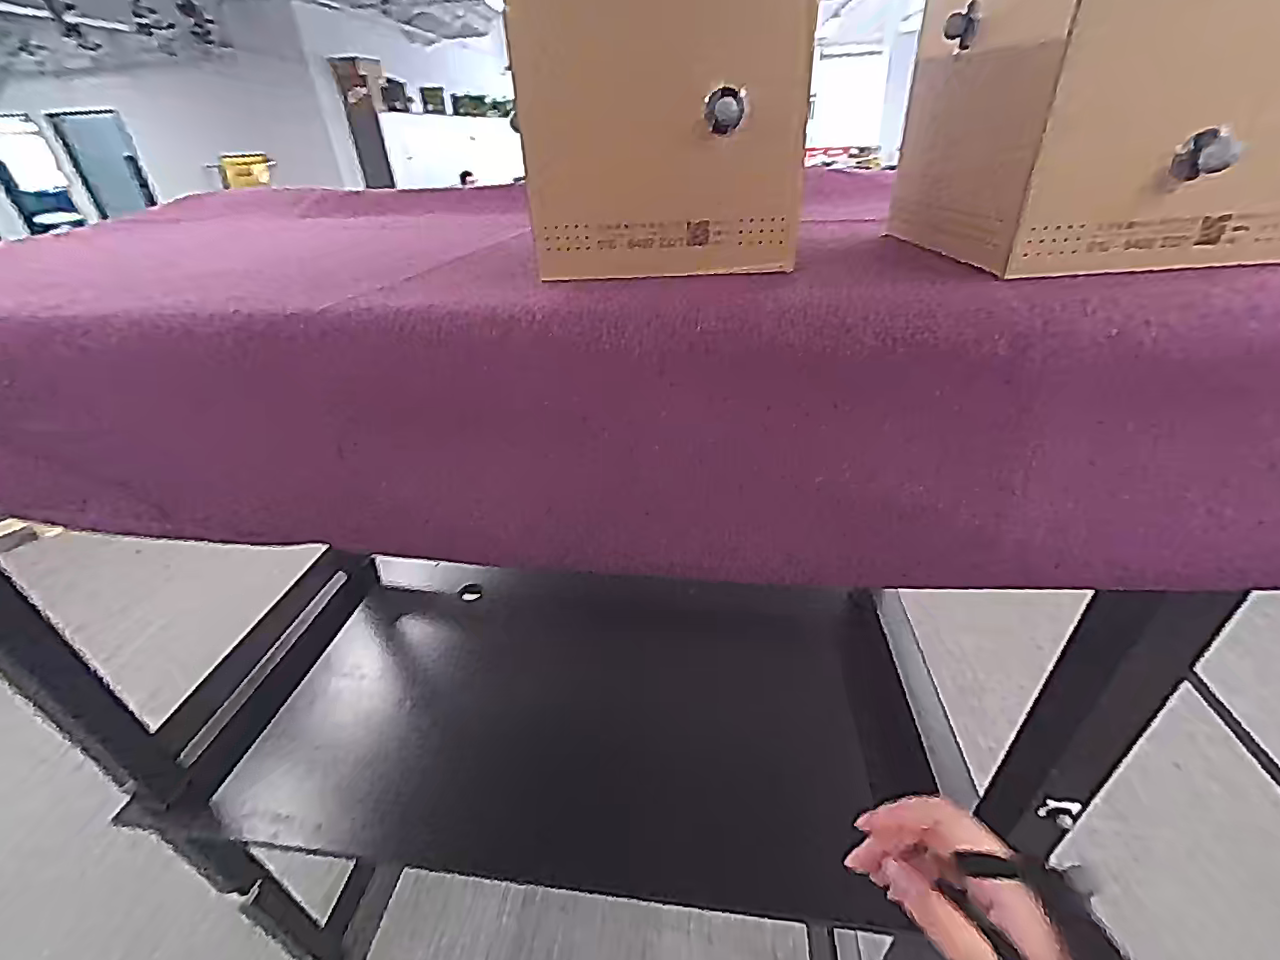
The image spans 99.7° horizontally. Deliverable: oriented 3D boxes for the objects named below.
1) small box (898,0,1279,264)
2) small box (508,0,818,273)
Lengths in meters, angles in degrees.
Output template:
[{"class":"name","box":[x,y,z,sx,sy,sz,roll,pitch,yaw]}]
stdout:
[{"class":"small box","box":[0.281,-0.233,0.328,0.168,0.176,0.179,-3,31,2]},{"class":"small box","box":[0.021,-0.245,0.376,0.168,0.176,0.179,0,32,4]}]
